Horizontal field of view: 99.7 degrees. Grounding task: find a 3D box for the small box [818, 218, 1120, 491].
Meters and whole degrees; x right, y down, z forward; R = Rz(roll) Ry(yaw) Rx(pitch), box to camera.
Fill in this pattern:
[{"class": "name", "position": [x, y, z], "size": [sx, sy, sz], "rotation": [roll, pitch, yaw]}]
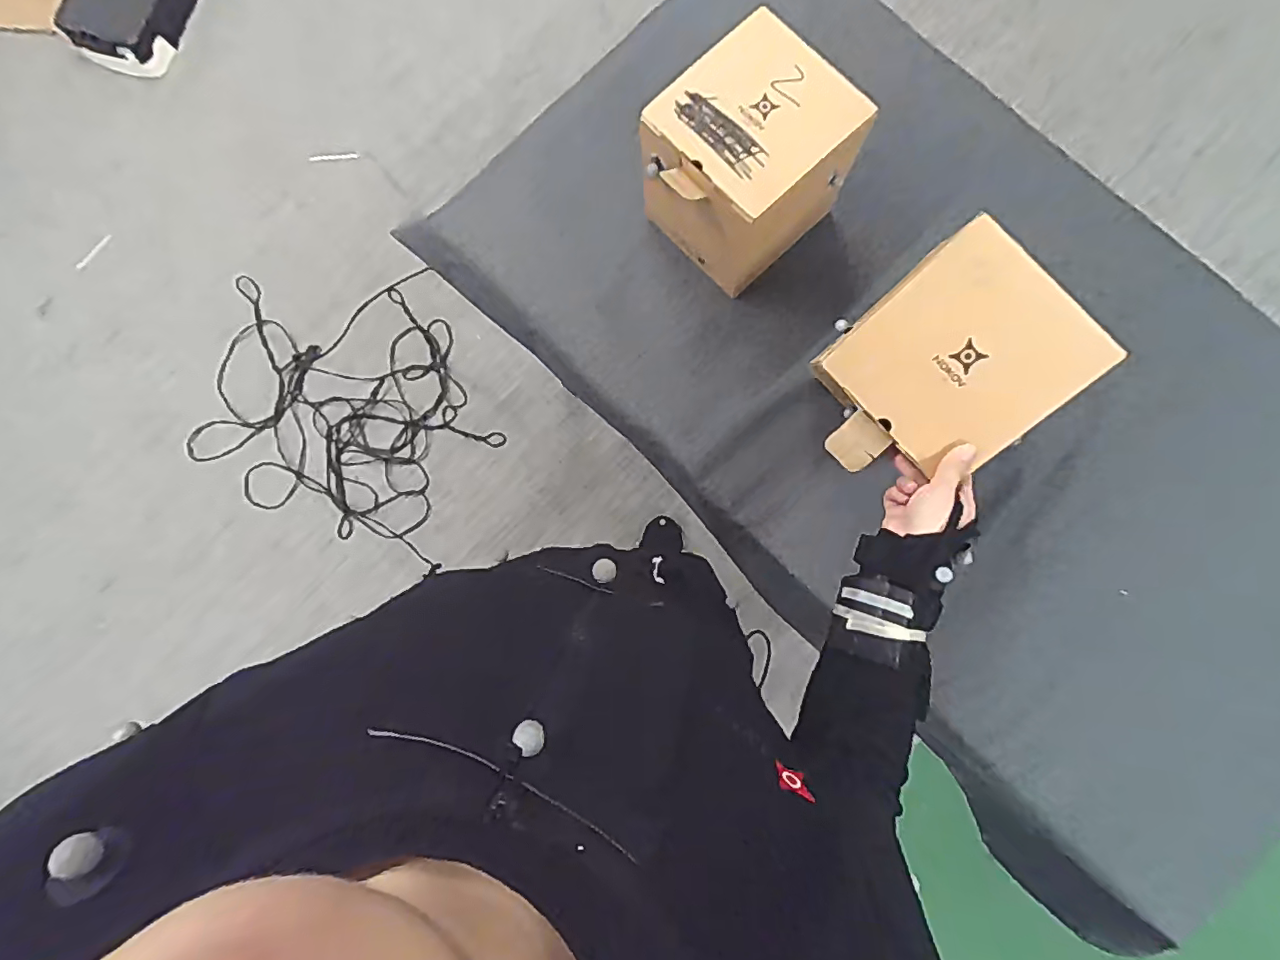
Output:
[{"class": "small box", "position": [0.300, -0.119, 0.545], "size": [0.168, 0.176, 0.179], "rotation": [47, 108, 2]}]
